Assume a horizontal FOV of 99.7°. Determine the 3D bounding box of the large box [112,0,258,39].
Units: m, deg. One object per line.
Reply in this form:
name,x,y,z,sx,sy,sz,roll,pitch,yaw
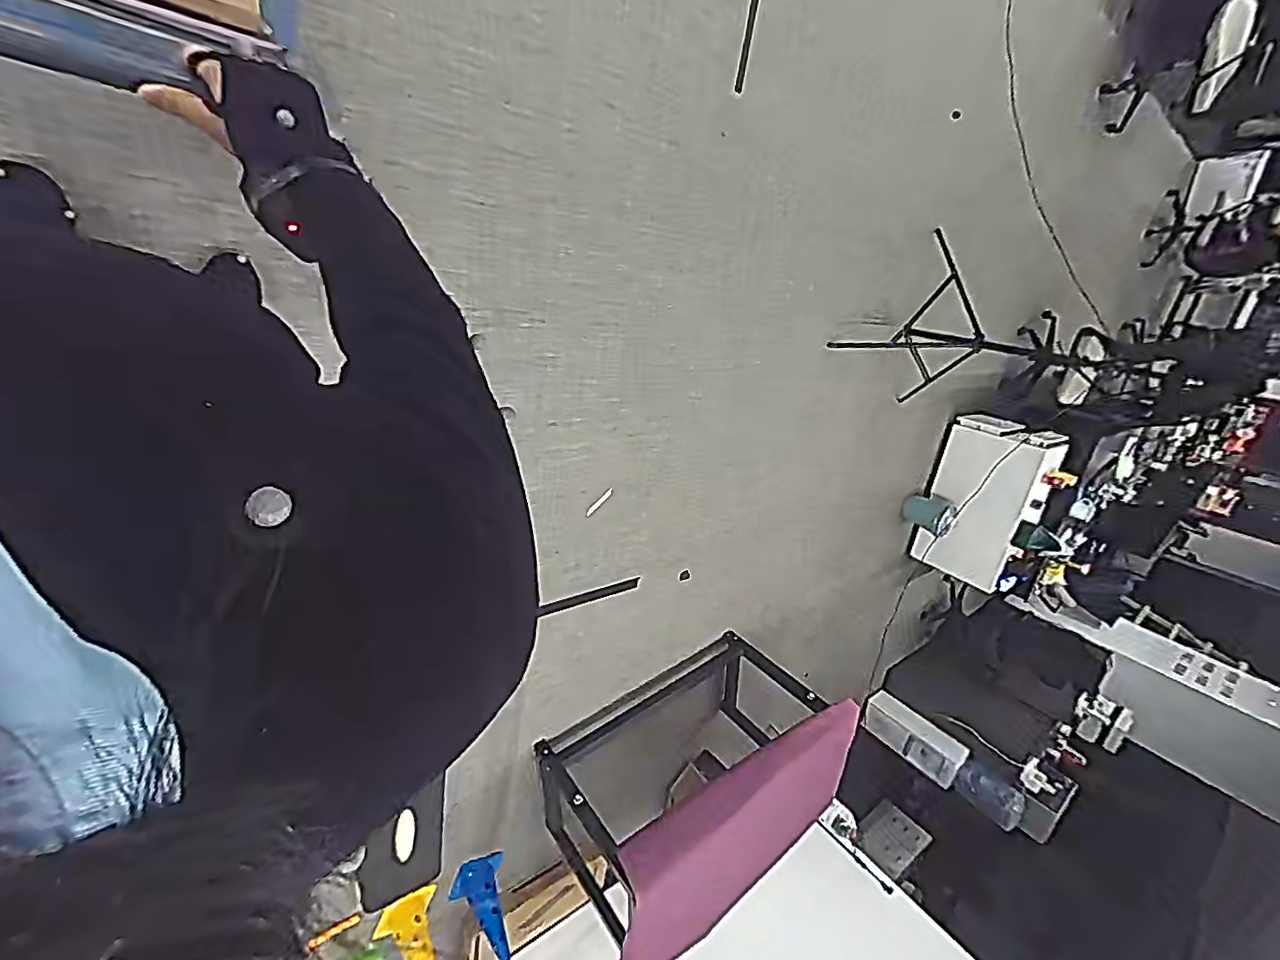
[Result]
large box,-0.726,-0.801,0.646,0.408,0.320,0.320,-6,123,-39
